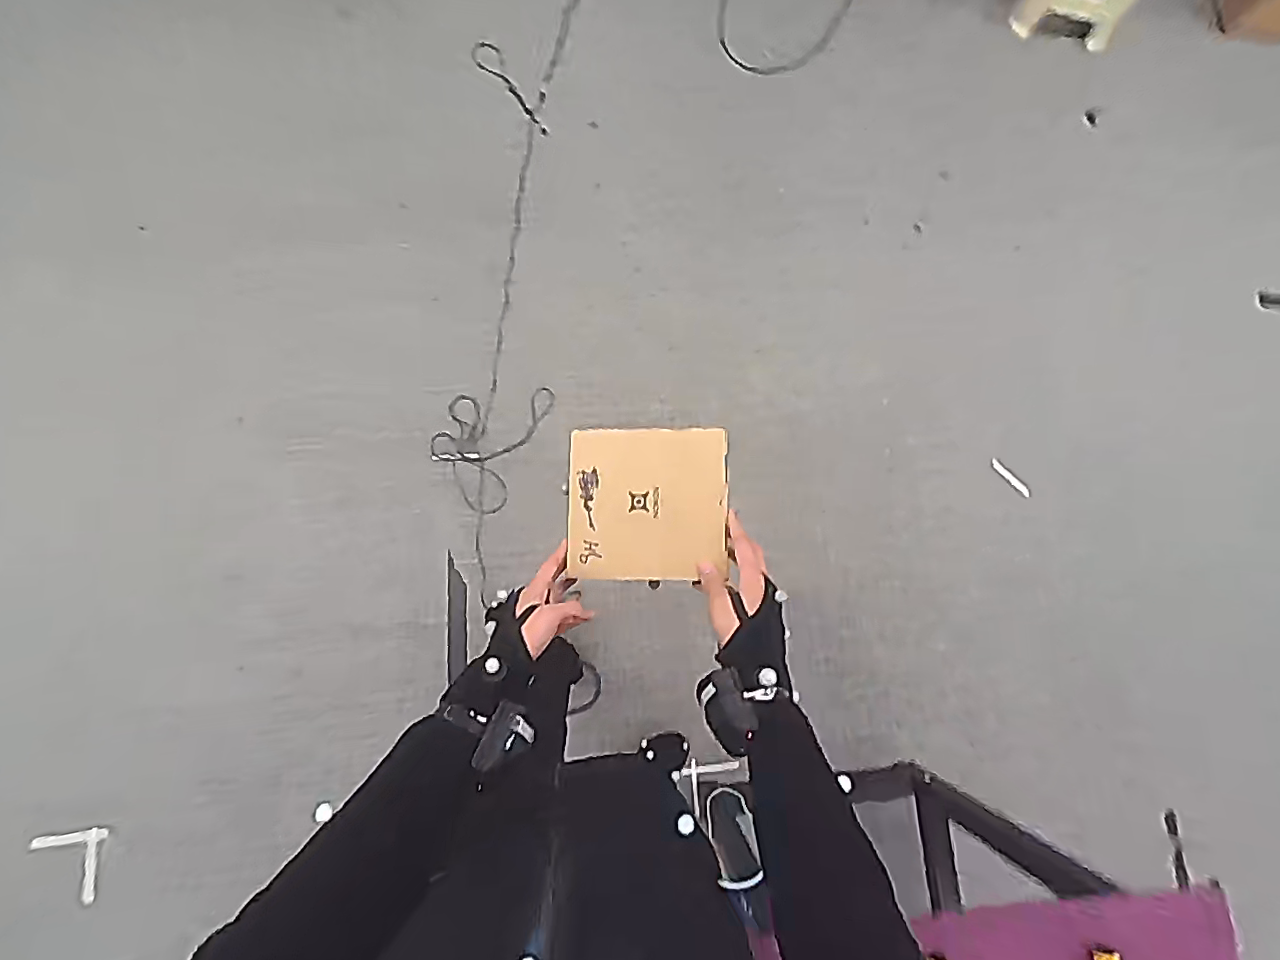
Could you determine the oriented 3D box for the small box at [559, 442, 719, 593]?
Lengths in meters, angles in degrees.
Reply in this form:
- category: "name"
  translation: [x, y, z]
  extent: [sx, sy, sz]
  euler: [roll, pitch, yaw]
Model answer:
- category: "small box"
  translation: [0.005, 0.048, 0.675]
  extent: [0.179, 0.176, 0.168]
  euler: [0, 83, 5]
